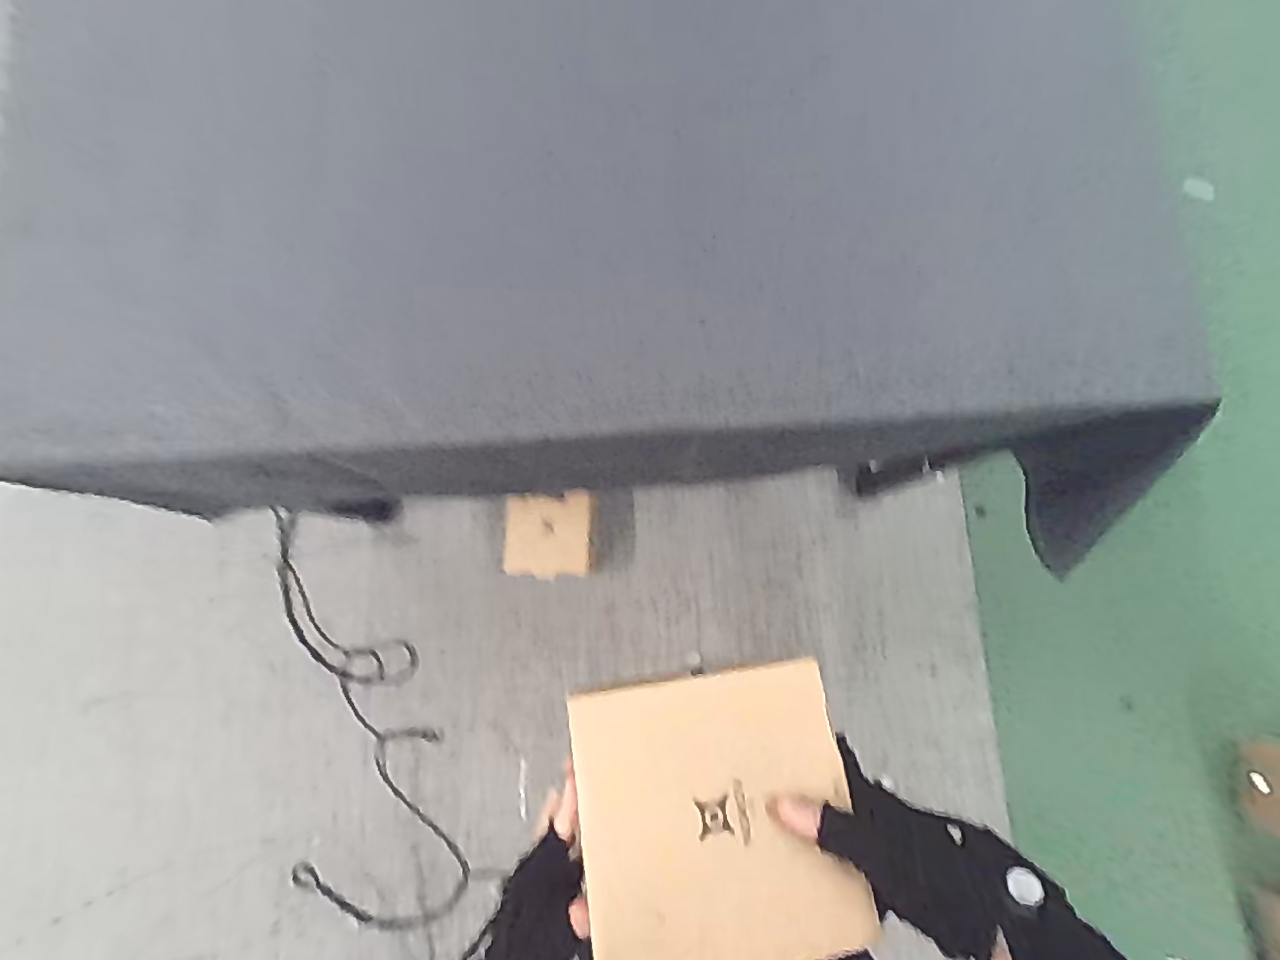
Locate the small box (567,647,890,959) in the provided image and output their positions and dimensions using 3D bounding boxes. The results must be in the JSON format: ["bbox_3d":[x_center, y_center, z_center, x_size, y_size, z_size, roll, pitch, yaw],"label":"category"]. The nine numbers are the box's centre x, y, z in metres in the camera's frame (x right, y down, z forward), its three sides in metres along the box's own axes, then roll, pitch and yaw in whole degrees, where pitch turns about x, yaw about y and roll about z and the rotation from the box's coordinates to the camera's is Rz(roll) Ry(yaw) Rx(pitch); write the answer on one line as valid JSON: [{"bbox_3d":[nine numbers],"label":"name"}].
[{"bbox_3d":[0.040,0.224,0.399,0.179,0.176,0.168,-5,70,-11],"label":"small box"}]

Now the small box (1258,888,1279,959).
[{"bbox_3d":[1.285,0.865,0.970,0.179,0.176,0.168,-4,80,0],"label":"small box"}]
